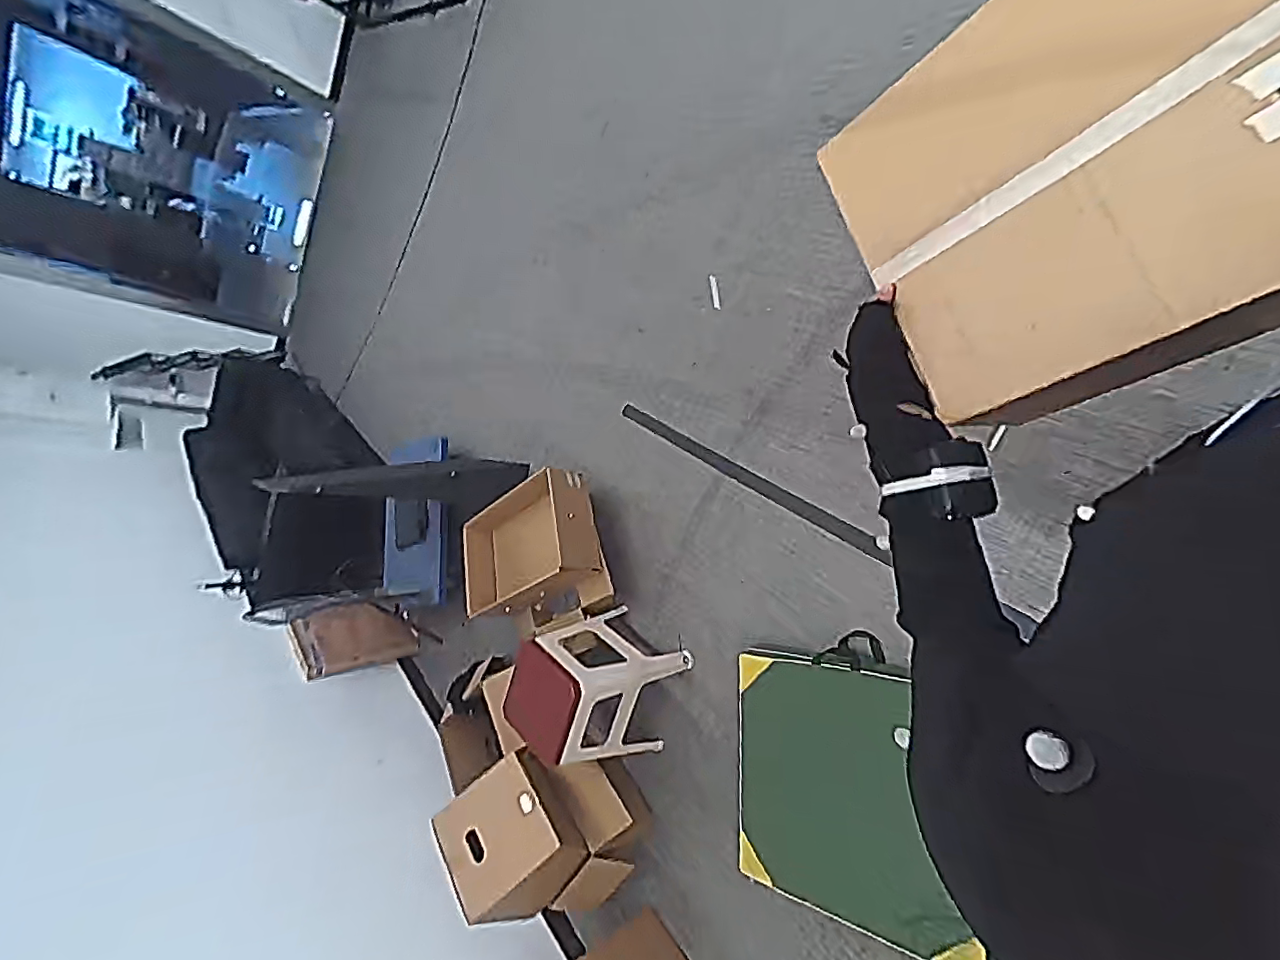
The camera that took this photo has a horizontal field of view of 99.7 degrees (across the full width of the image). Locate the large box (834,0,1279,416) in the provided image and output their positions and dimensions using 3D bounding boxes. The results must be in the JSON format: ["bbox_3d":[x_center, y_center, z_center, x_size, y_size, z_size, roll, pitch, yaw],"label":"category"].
[{"bbox_3d":[0.475,-0.284,0.508,0.408,0.320,0.320,-27,76,42],"label":"large box"}]
